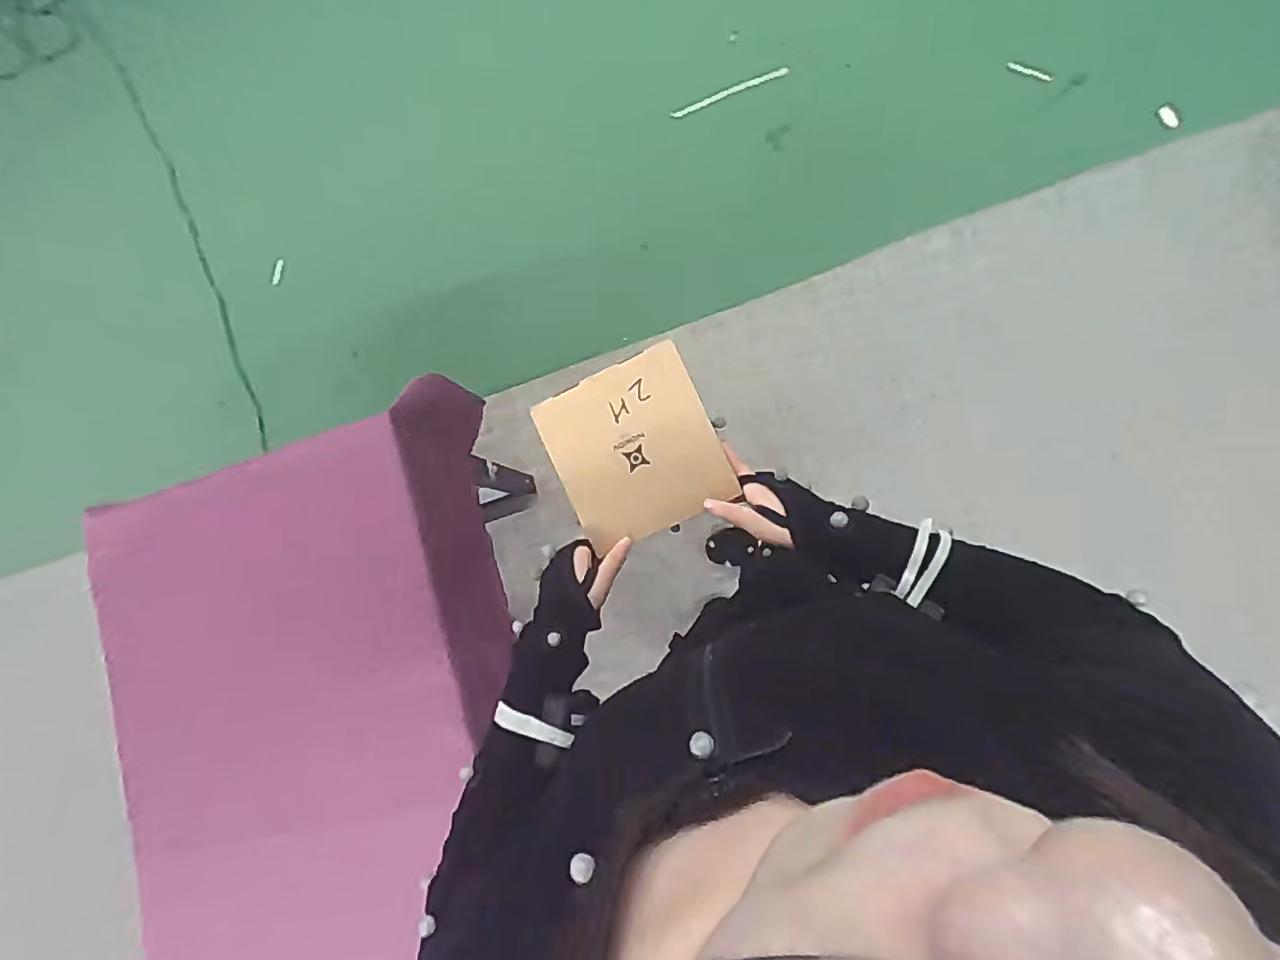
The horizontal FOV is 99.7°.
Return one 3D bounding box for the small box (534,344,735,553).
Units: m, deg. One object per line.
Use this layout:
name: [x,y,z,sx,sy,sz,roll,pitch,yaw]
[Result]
small box: [0.005,-0.037,0.639,0.168,0.176,0.179,-23,90,9]
